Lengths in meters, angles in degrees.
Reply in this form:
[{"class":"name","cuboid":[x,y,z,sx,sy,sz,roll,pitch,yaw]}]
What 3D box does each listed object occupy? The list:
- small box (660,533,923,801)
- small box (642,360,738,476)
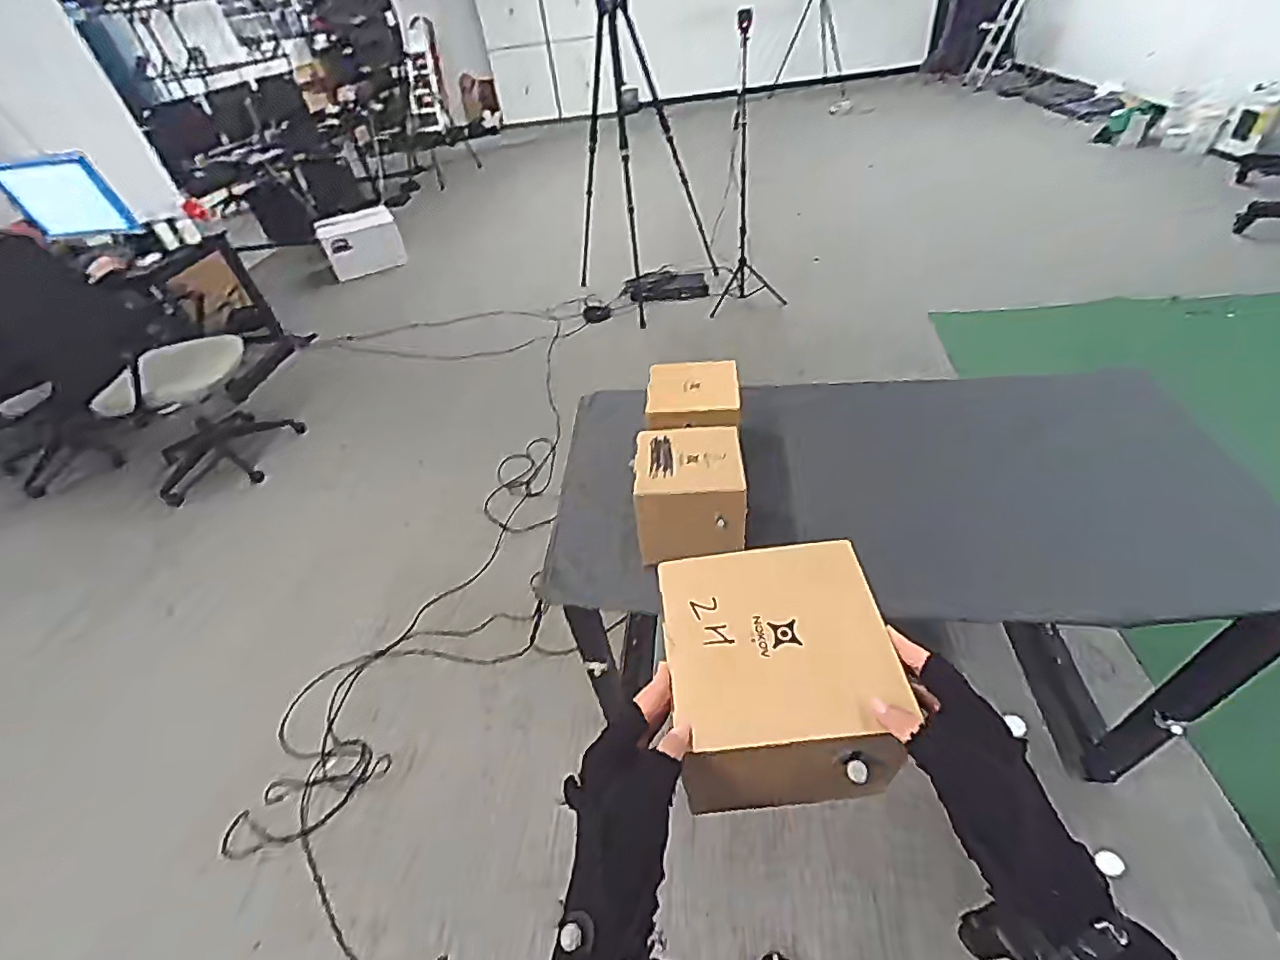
[{"class":"small box","cuboid":[0.116,0.171,0.486,0.179,0.176,0.168,-8,45,4]},{"class":"small box","cuboid":[0.105,-0.123,1.096,0.179,0.176,0.168,-3,43,8]}]
